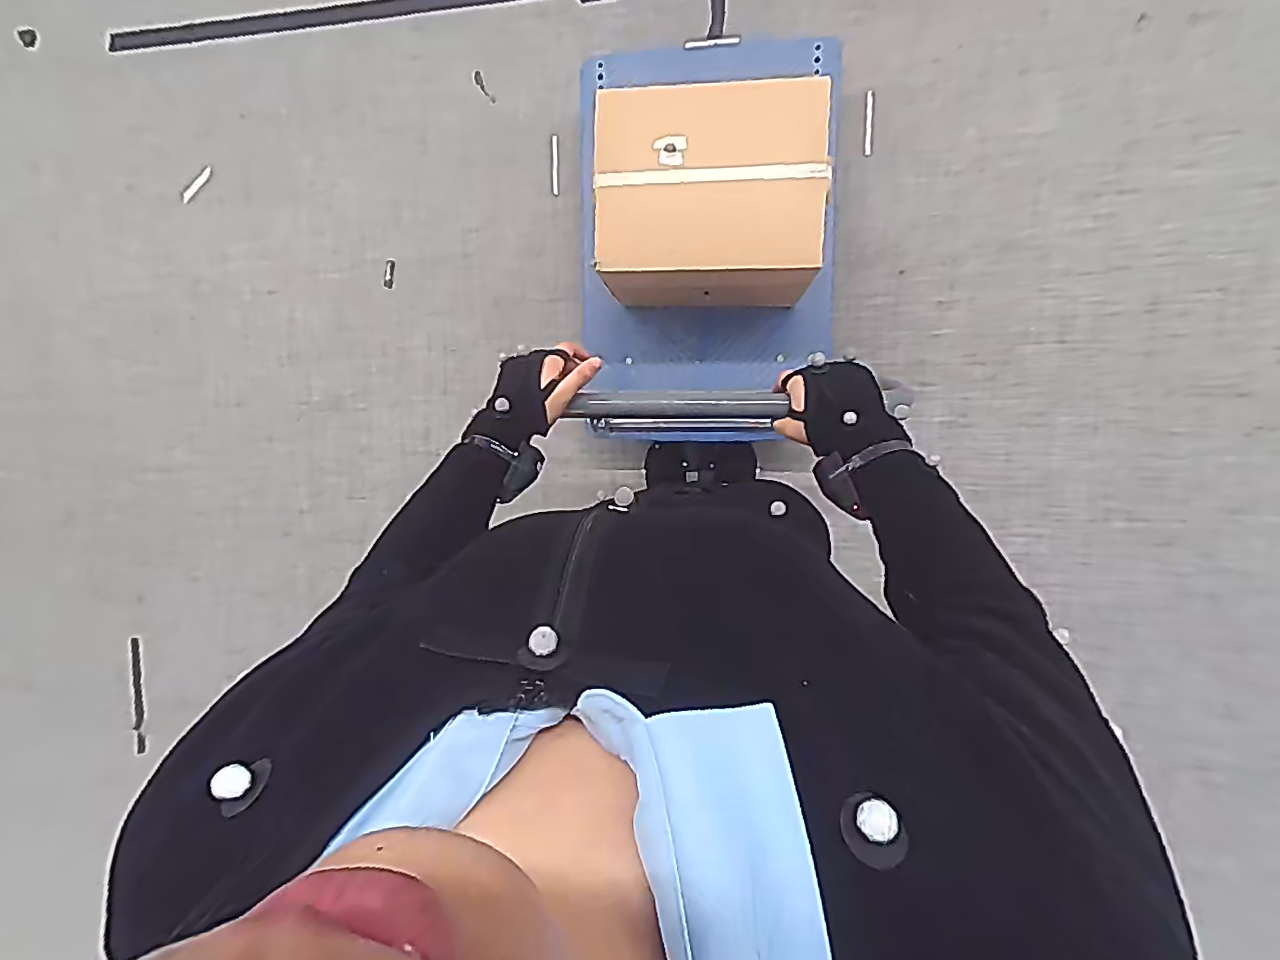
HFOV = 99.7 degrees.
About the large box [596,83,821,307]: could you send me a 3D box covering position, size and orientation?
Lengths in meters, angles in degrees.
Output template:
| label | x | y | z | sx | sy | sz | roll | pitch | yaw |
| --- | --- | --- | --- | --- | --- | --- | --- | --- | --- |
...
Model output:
| label | x | y | z | sx | sy | sz | roll | pitch | yaw |
| --- | --- | --- | --- | --- | --- | --- | --- | --- | --- |
| large box | 0.138 | -0.547 | 1.115 | 0.408 | 0.320 | 0.320 | 2 | 95 | 8 |
